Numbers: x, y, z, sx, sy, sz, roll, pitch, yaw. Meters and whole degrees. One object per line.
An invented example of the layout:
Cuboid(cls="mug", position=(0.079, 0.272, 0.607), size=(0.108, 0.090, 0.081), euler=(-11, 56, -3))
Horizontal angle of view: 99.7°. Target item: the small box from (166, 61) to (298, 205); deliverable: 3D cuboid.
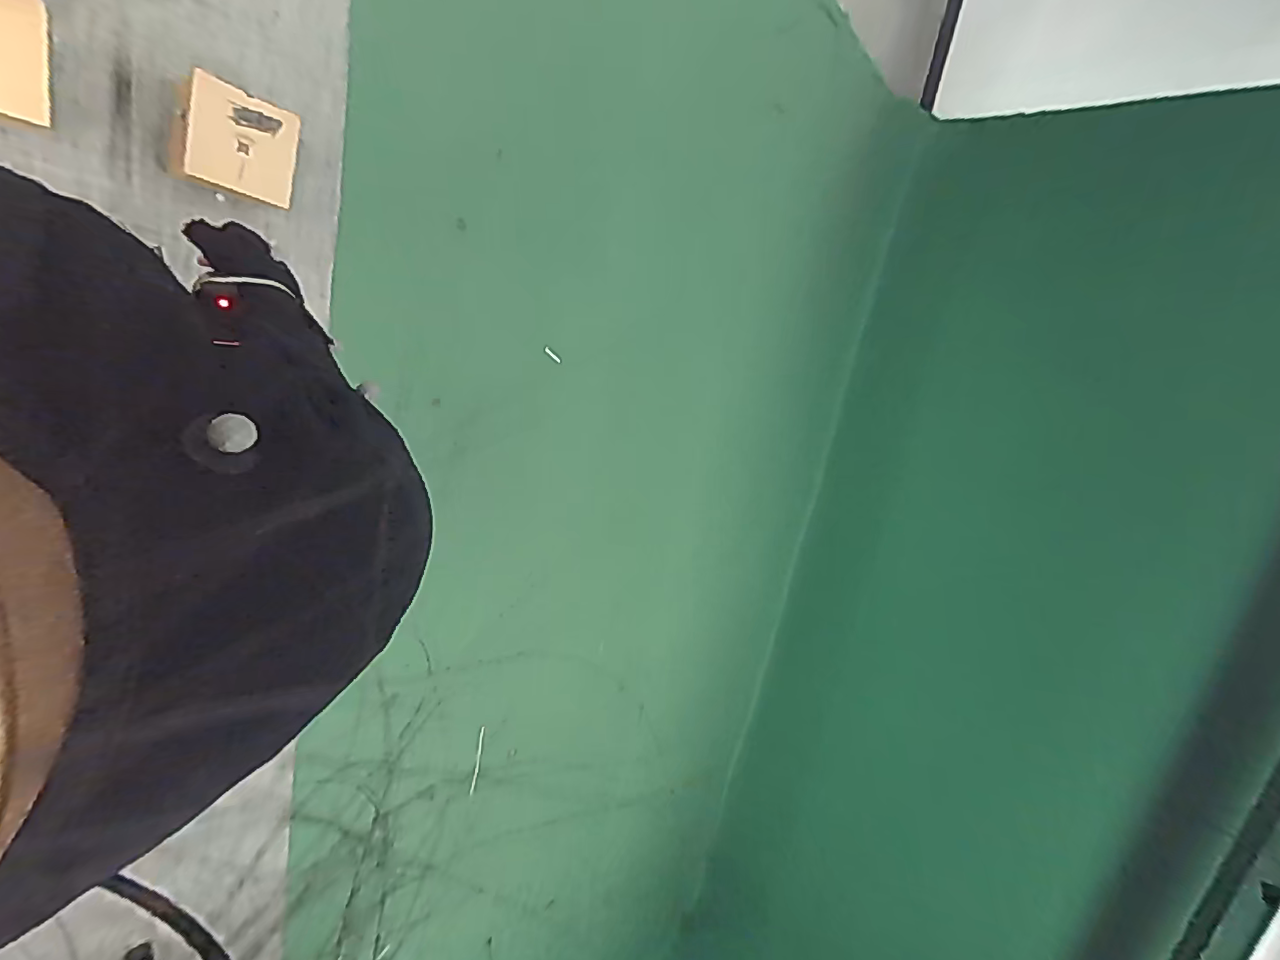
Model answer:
Cuboid(cls="small box", position=(-0.788, -0.654, 1.042), size=(0.168, 0.176, 0.179), euler=(2, 106, -49))

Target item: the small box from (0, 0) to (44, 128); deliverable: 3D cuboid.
Cuboid(cls="small box", position=(-1.003, -0.651, 0.796), size=(0.168, 0.176, 0.179), euler=(-4, 110, -49))
